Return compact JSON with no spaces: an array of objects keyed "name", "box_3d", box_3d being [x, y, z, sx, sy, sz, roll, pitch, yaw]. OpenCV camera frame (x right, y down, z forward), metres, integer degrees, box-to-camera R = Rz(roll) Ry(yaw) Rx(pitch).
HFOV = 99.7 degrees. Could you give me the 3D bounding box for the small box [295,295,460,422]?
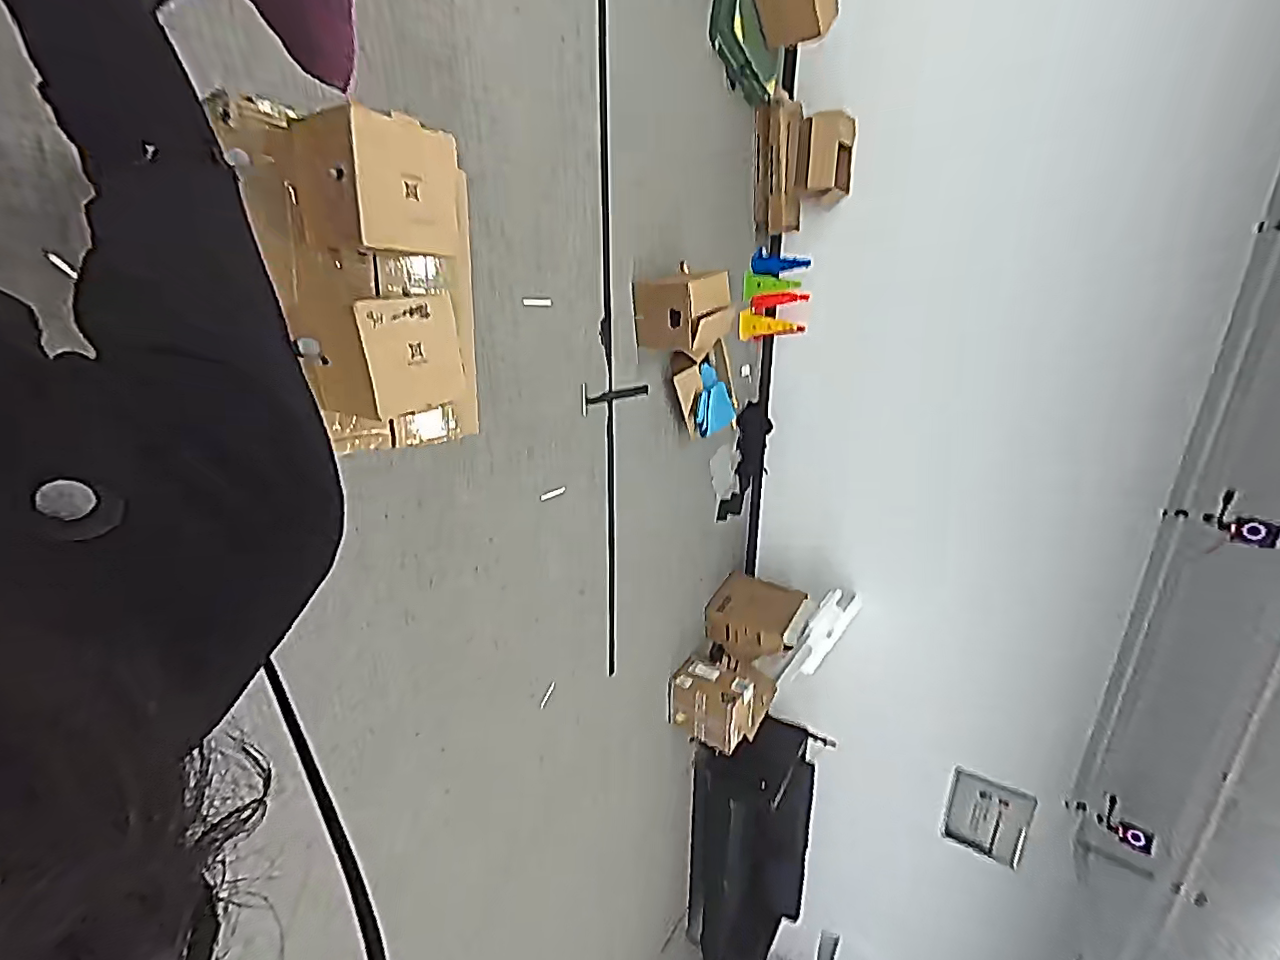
[{"name":"small box","box_3d":[-0.424,-0.207,0.883,0.168,0.176,0.179,-29,124,-50]}]
